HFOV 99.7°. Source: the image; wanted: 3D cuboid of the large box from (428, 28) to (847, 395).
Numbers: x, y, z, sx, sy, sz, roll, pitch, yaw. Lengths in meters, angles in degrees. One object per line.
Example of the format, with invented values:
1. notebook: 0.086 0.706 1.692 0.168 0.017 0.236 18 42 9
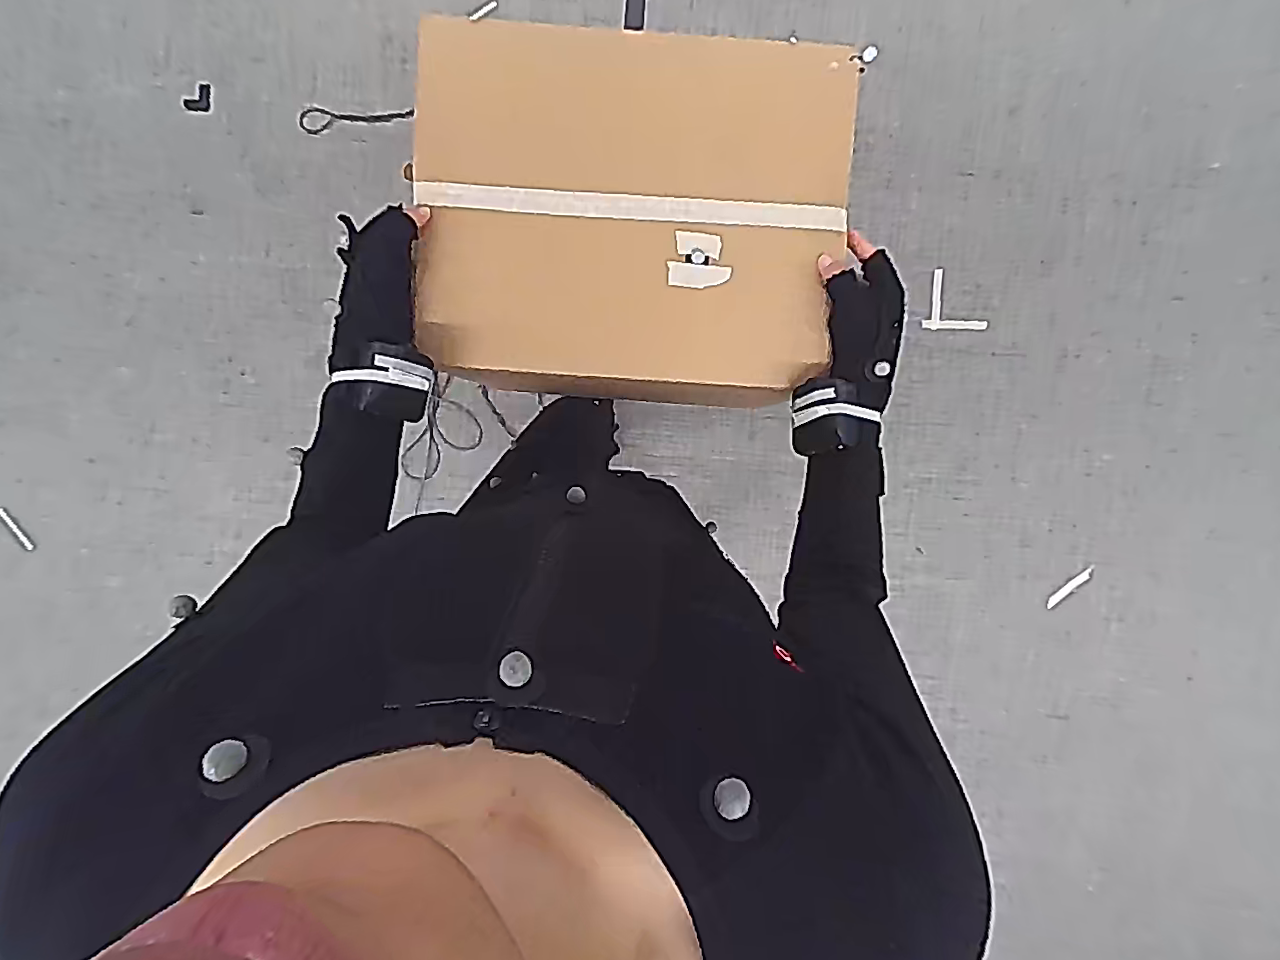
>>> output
1. large box: -0.009 -0.279 0.674 0.408 0.320 0.320 3 96 -1
